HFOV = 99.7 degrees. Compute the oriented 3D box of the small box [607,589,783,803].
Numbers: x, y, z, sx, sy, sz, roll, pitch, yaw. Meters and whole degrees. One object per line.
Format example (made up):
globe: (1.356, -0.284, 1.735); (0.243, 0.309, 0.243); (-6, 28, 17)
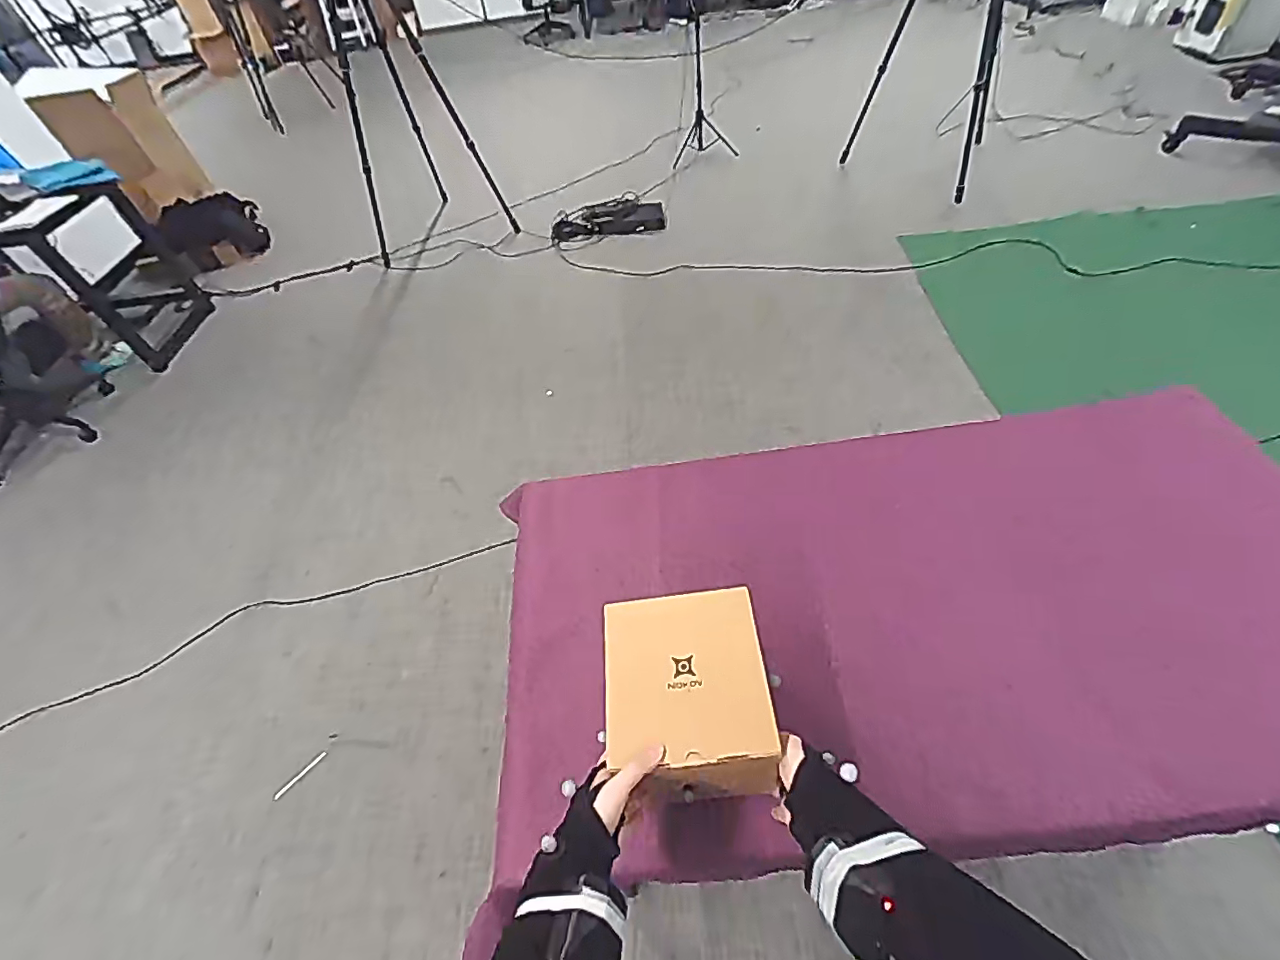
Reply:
small box: (0.057, 0.249, 0.619); (0.168, 0.176, 0.179); (-8, 50, 3)
